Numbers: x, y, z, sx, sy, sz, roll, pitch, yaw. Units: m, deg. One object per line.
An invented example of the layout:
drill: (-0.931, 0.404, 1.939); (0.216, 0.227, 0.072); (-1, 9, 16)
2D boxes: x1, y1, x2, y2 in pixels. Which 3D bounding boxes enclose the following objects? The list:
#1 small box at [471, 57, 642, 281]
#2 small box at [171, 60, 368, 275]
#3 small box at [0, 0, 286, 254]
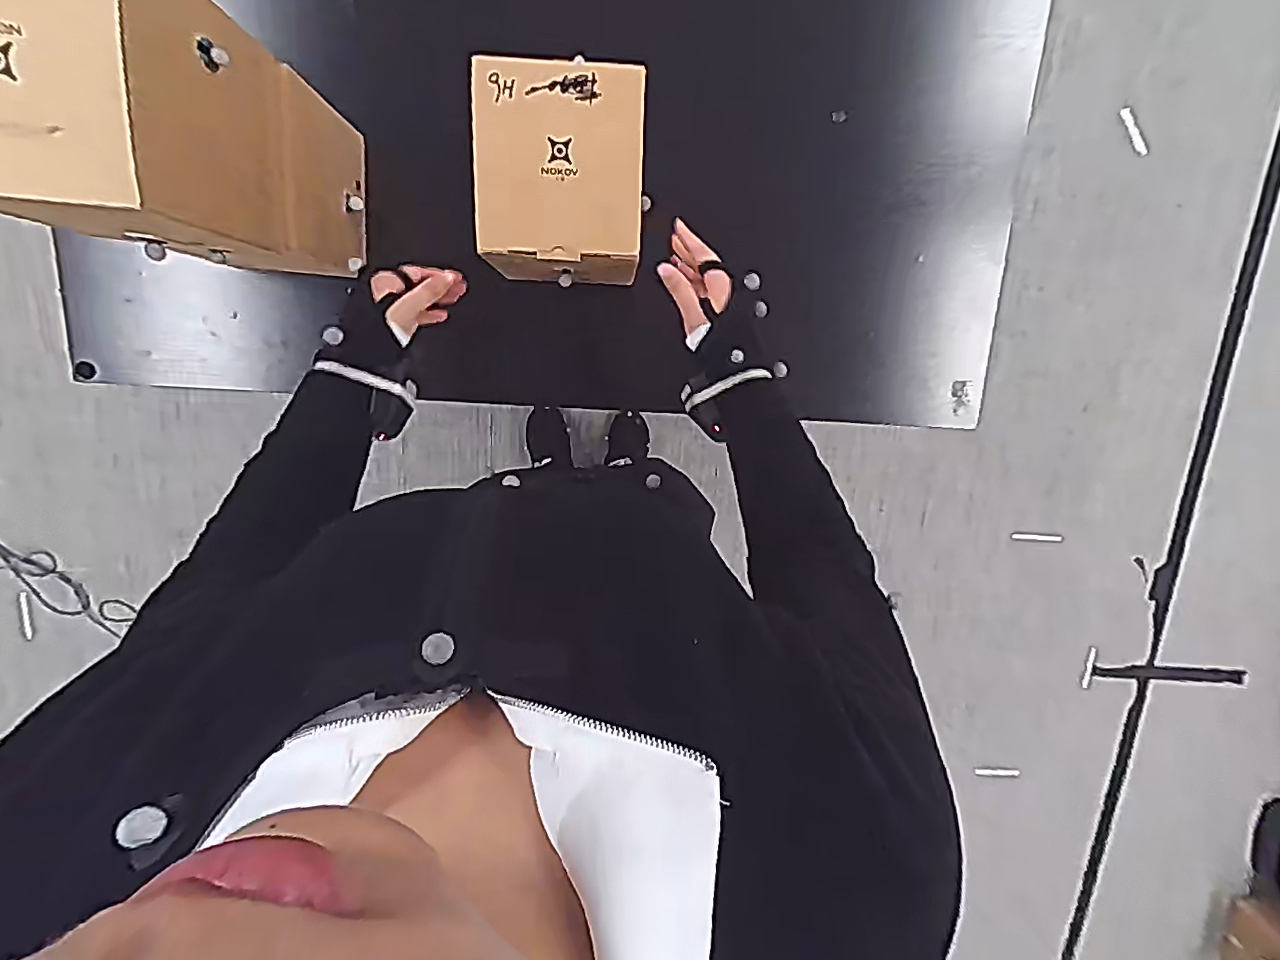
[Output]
small box: (-0.085, -0.329, 0.609); (0.168, 0.176, 0.179); (1, 101, -3)
small box: (-0.423, -0.328, 0.589); (0.179, 0.176, 0.168); (4, 101, -5)
small box: (-0.416, -0.295, 0.430); (0.168, 0.176, 0.179); (3, 102, -3)
